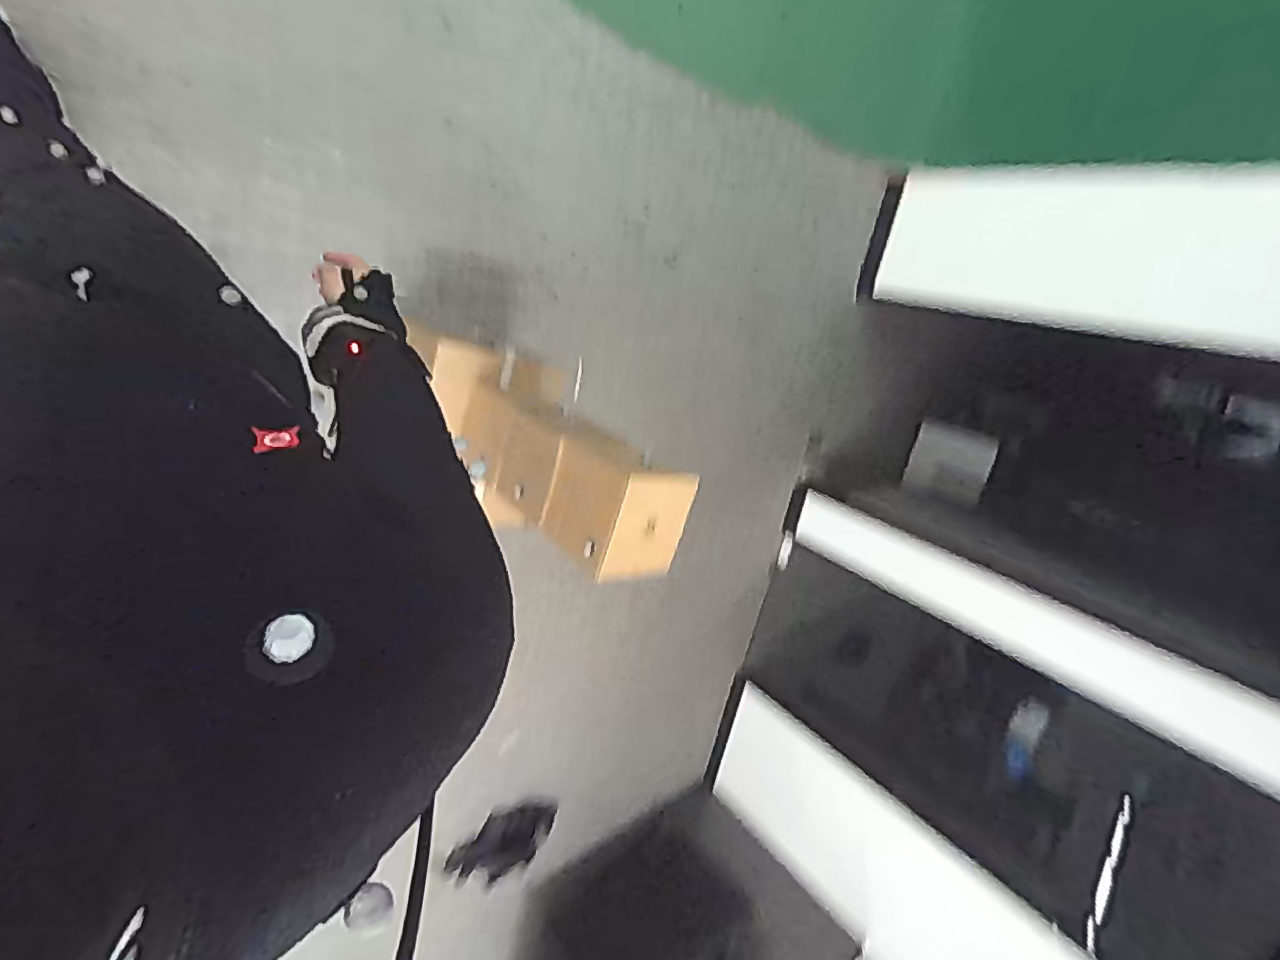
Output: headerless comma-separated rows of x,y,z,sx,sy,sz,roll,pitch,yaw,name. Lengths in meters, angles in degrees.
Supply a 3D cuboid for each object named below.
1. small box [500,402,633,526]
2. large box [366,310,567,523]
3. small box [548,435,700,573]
-0.143,-0.034,1.007,0.168,0.176,0.179,-3,114,-44,small box
-0.422,-0.149,1.283,0.320,0.320,0.408,2,112,-43,large box
-0.033,0.033,0.907,0.168,0.176,0.179,1,113,-45,small box
